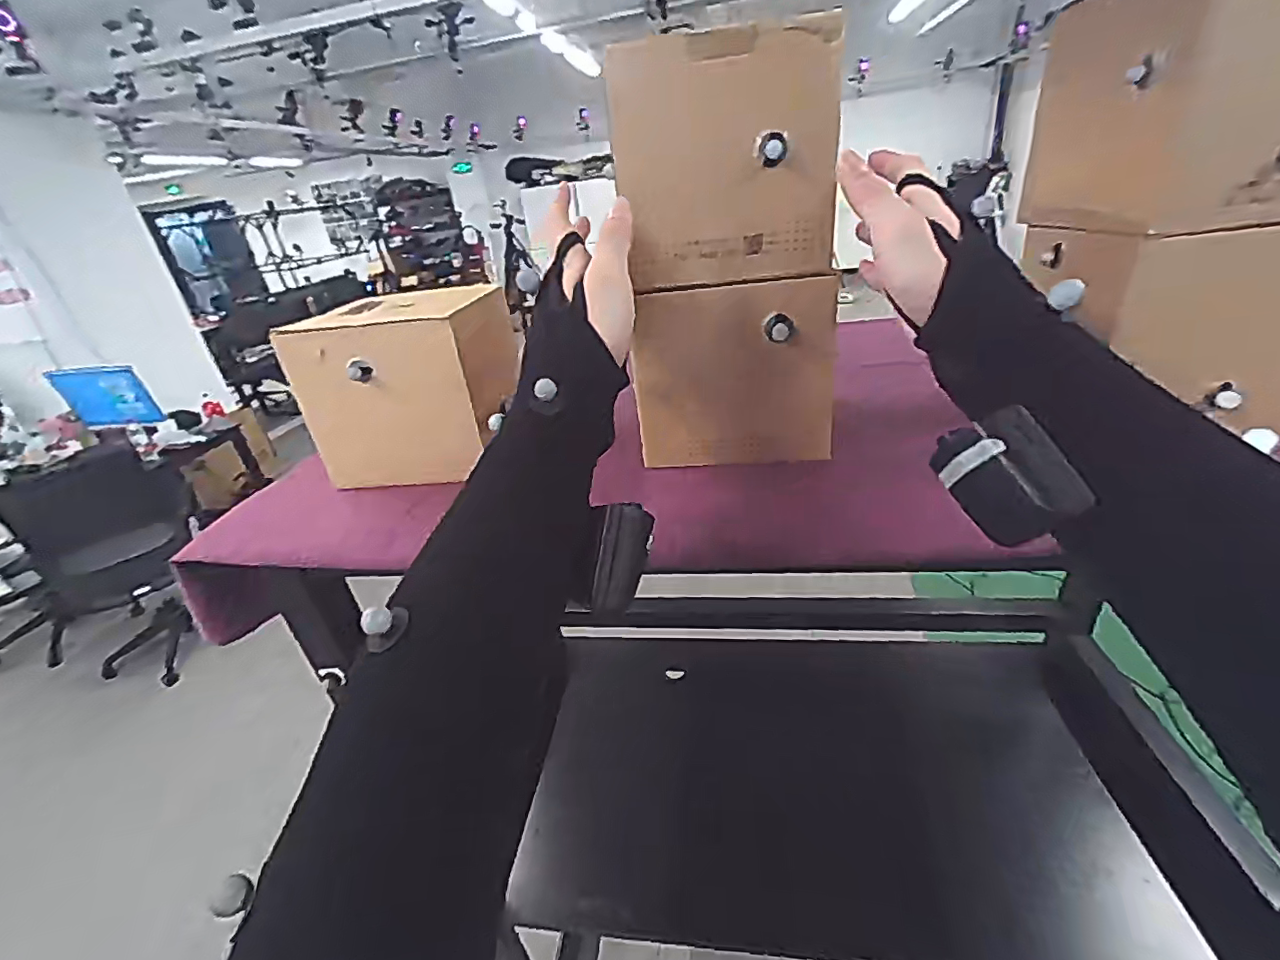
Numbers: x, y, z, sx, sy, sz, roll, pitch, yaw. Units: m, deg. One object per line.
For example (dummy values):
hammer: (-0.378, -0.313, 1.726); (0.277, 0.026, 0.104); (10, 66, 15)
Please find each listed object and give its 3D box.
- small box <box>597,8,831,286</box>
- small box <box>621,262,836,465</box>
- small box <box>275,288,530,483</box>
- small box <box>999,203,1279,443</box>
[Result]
small box: (0.070, -0.272, 0.478); (0.168, 0.176, 0.179); (-1, 27, 10)
small box: (0.090, -0.125, 0.546); (0.179, 0.176, 0.168); (-3, 27, 11)
small box: (-0.238, -0.105, 0.594); (0.179, 0.176, 0.168); (-3, 28, 8)
small box: (0.457, -0.141, 0.477); (0.179, 0.176, 0.168); (-3, 26, 10)
